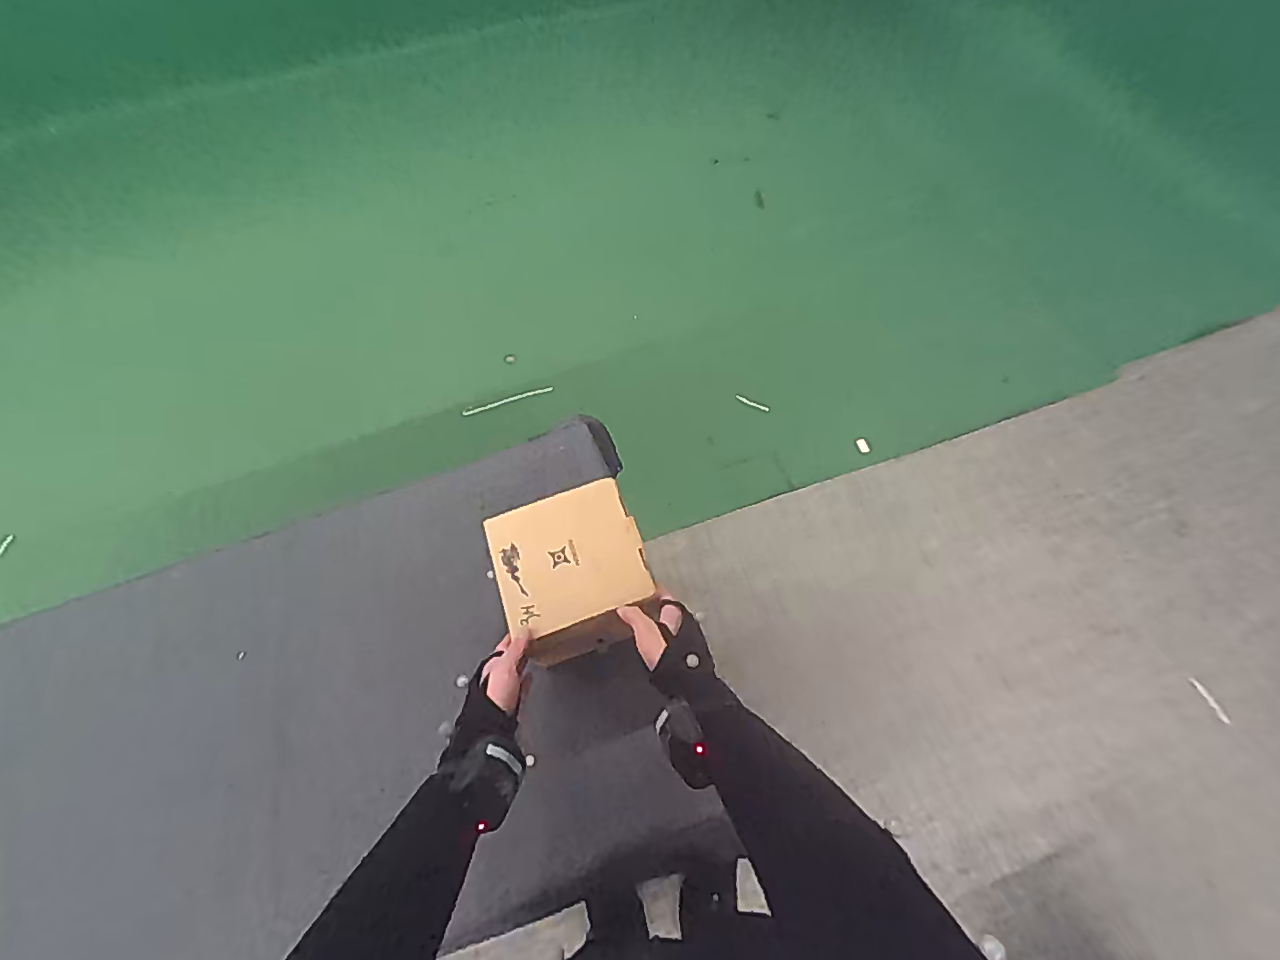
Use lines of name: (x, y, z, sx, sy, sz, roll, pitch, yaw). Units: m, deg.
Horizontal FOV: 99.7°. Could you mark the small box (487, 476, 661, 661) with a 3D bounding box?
small box: (-0.083, 0.121, 0.711, 0.179, 0.176, 0.168, -17, 63, -8)
